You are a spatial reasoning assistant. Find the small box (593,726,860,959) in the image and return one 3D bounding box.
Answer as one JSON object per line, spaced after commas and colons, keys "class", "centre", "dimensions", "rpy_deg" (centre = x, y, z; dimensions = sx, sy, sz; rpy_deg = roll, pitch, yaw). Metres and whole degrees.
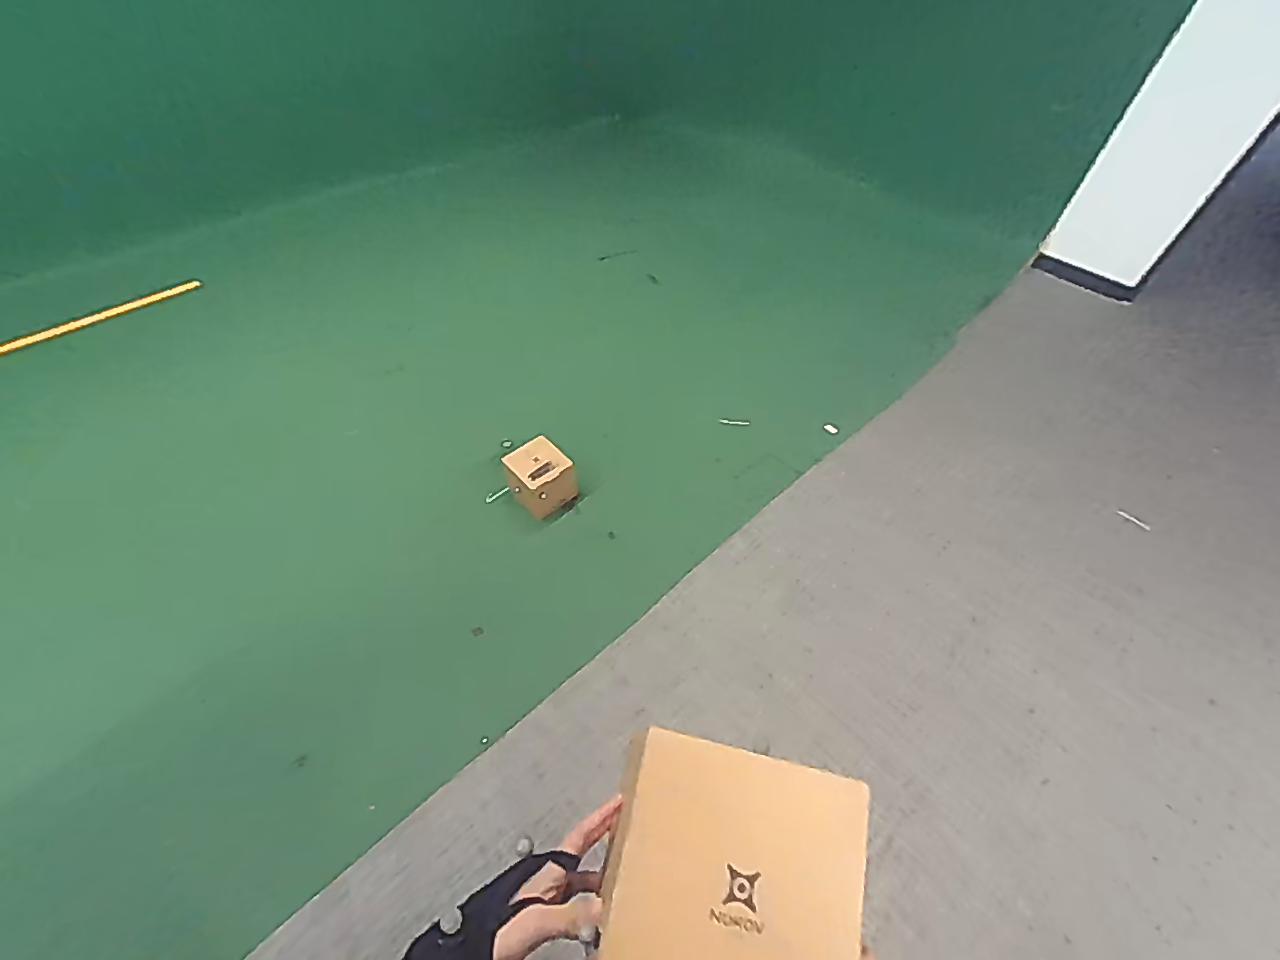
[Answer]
{"class": "small box", "centre": [0.058, 0.308, 0.434], "dimensions": [0.168, 0.176, 0.179], "rpy_deg": [13, 65, 1]}
